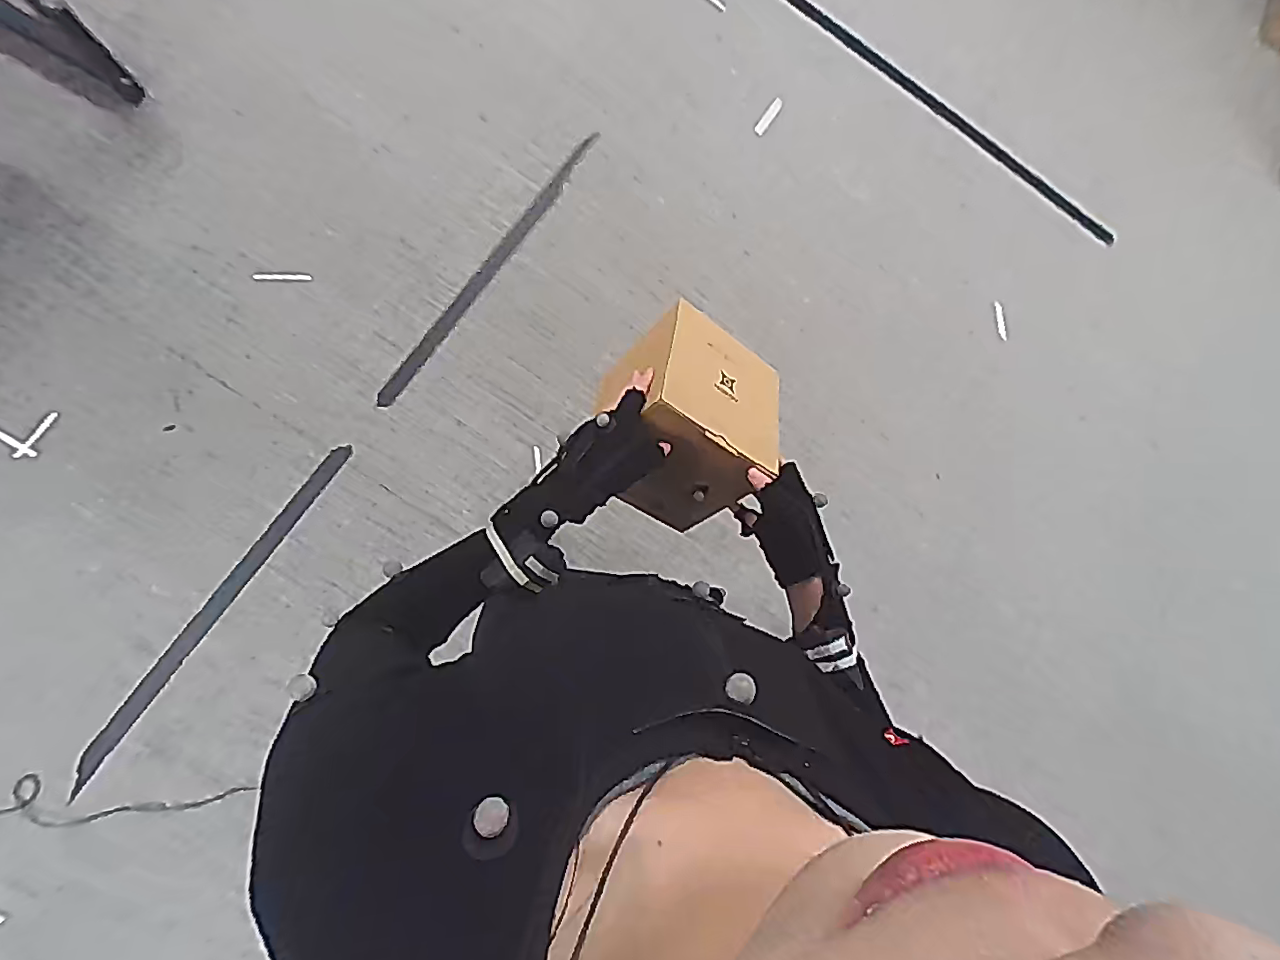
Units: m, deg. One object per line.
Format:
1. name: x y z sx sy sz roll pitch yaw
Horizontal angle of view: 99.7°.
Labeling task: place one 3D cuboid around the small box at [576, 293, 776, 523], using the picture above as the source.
1. small box: 0.042 -0.074 0.645 0.168 0.176 0.179 30 47 -23
